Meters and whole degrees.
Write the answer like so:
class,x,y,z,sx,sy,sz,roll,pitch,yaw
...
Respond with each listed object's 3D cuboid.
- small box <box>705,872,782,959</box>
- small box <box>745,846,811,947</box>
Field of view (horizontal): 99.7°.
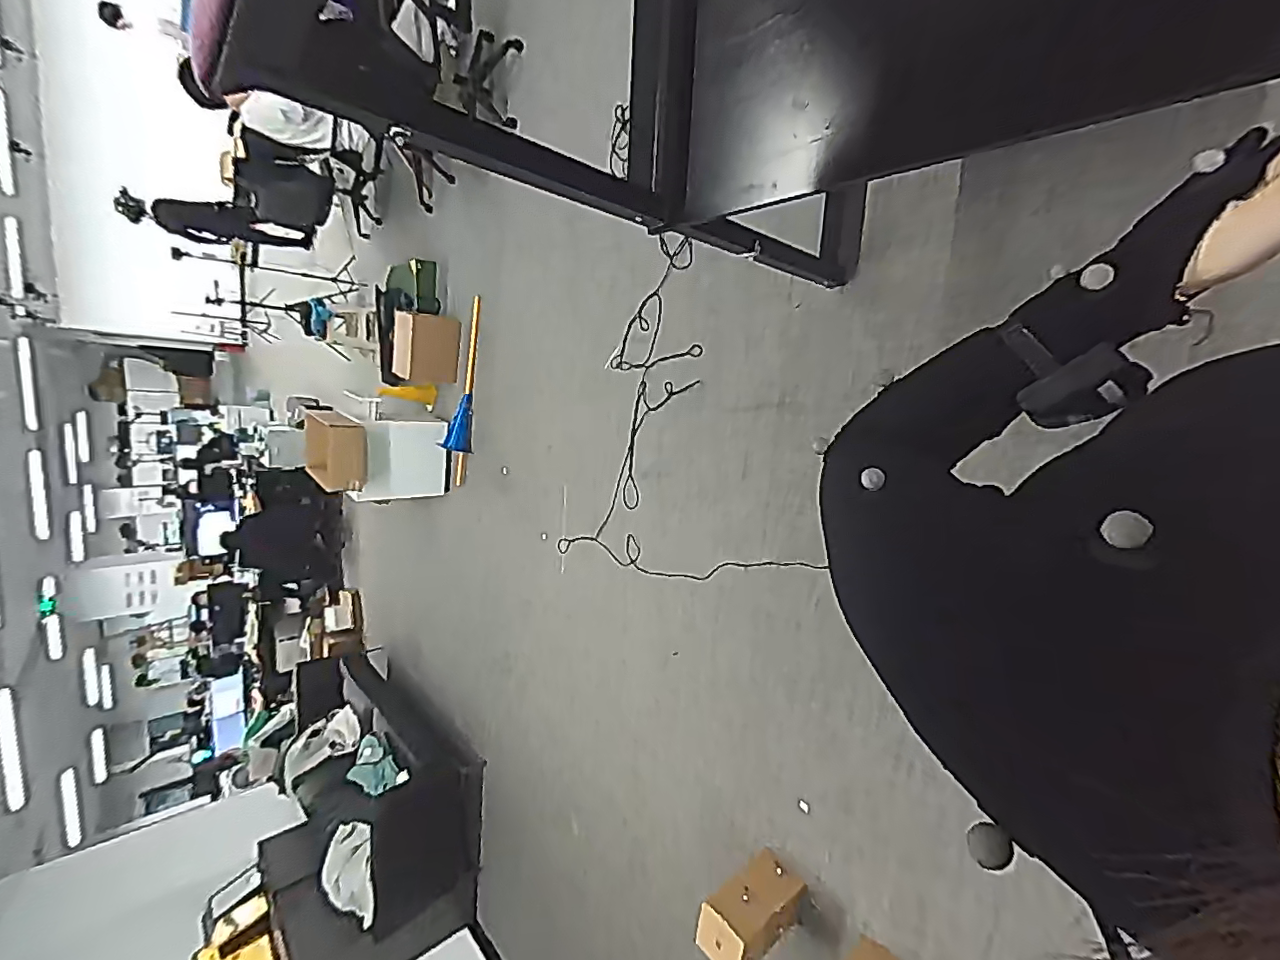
class,x,y,z,sx,sy,sz,roll,pitch,yaw
small box,0.331,1.412,1.717,0.168,0.176,0.179,19,108,44
small box,0.454,1.399,1.826,0.168,0.176,0.179,22,109,44
